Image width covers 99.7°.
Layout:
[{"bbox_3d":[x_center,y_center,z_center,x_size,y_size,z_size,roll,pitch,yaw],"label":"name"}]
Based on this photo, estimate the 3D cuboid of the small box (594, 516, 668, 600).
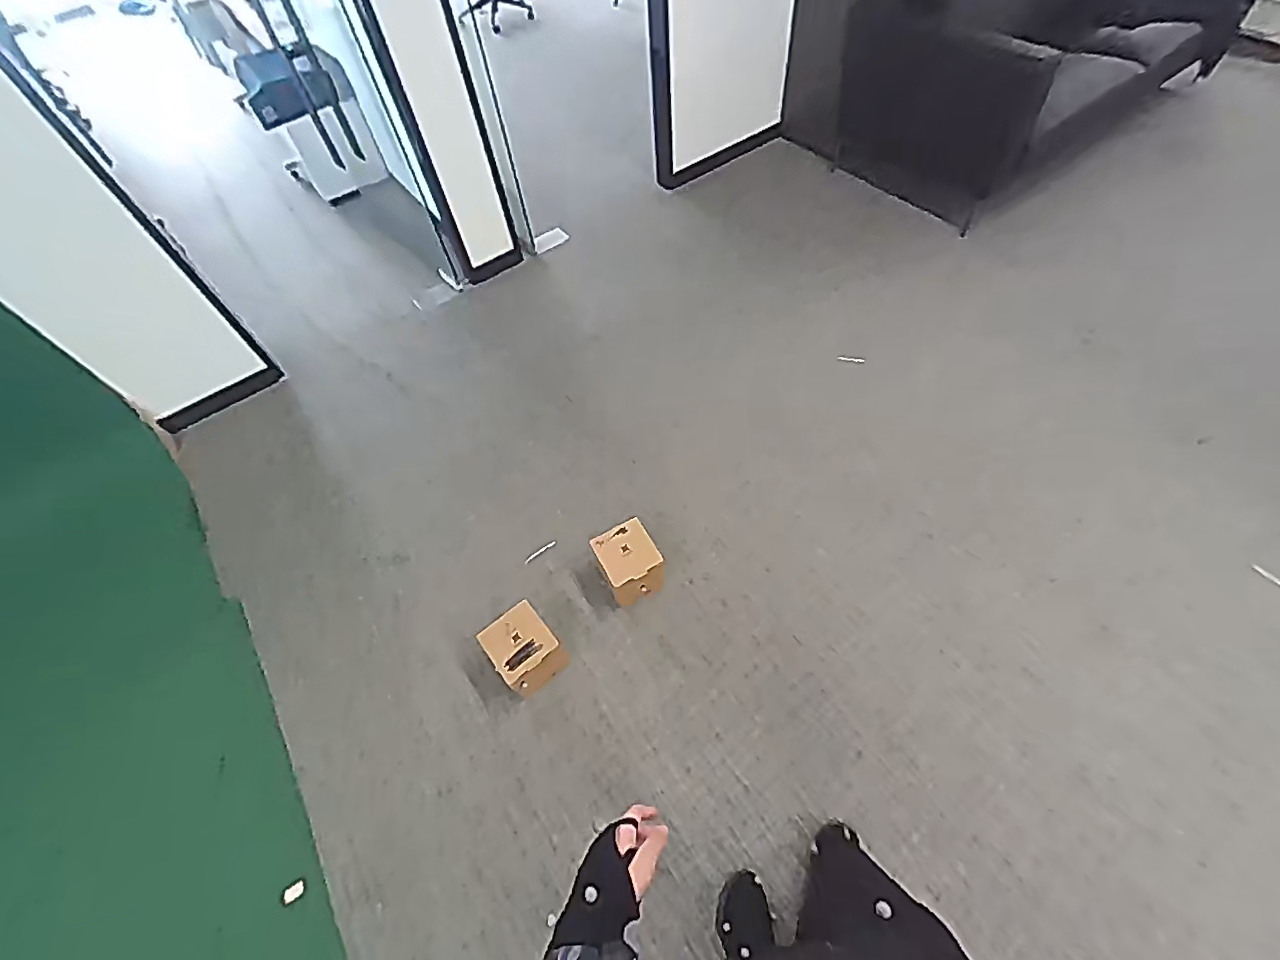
[{"bbox_3d":[-0.022,0.247,1.649,0.168,0.176,0.179,-26,59,-12],"label":"small box"}]
